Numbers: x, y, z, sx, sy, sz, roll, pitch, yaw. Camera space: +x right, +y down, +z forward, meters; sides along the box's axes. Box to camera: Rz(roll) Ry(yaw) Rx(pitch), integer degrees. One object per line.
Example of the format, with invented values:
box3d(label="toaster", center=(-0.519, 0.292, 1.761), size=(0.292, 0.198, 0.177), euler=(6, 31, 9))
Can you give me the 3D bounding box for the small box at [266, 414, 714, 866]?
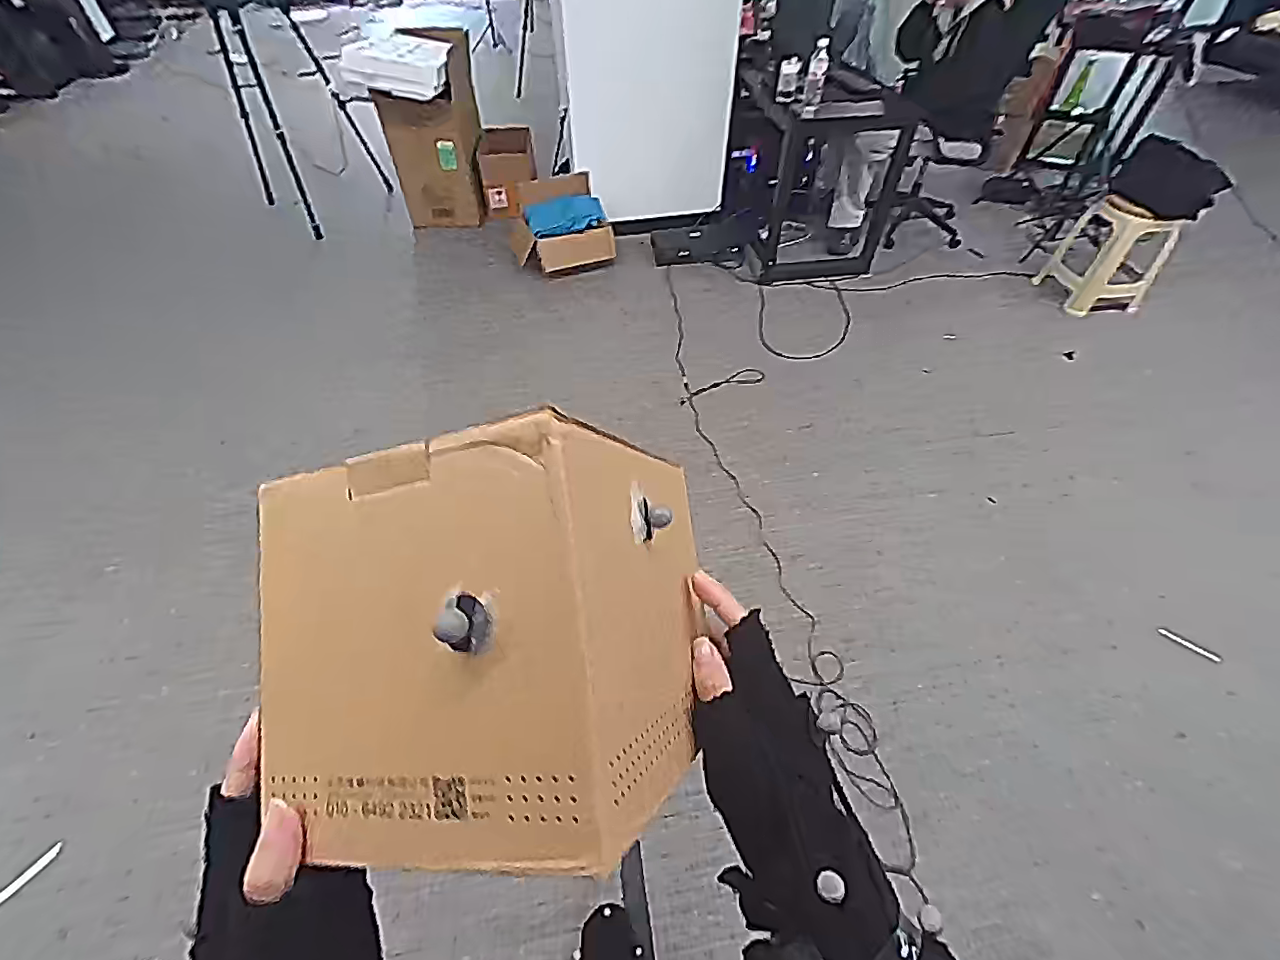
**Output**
box3d(label="small box", center=(-0.066, 0.080, 0.300), size=(0.168, 0.179, 0.176), euler=(-12, 79, 21))
